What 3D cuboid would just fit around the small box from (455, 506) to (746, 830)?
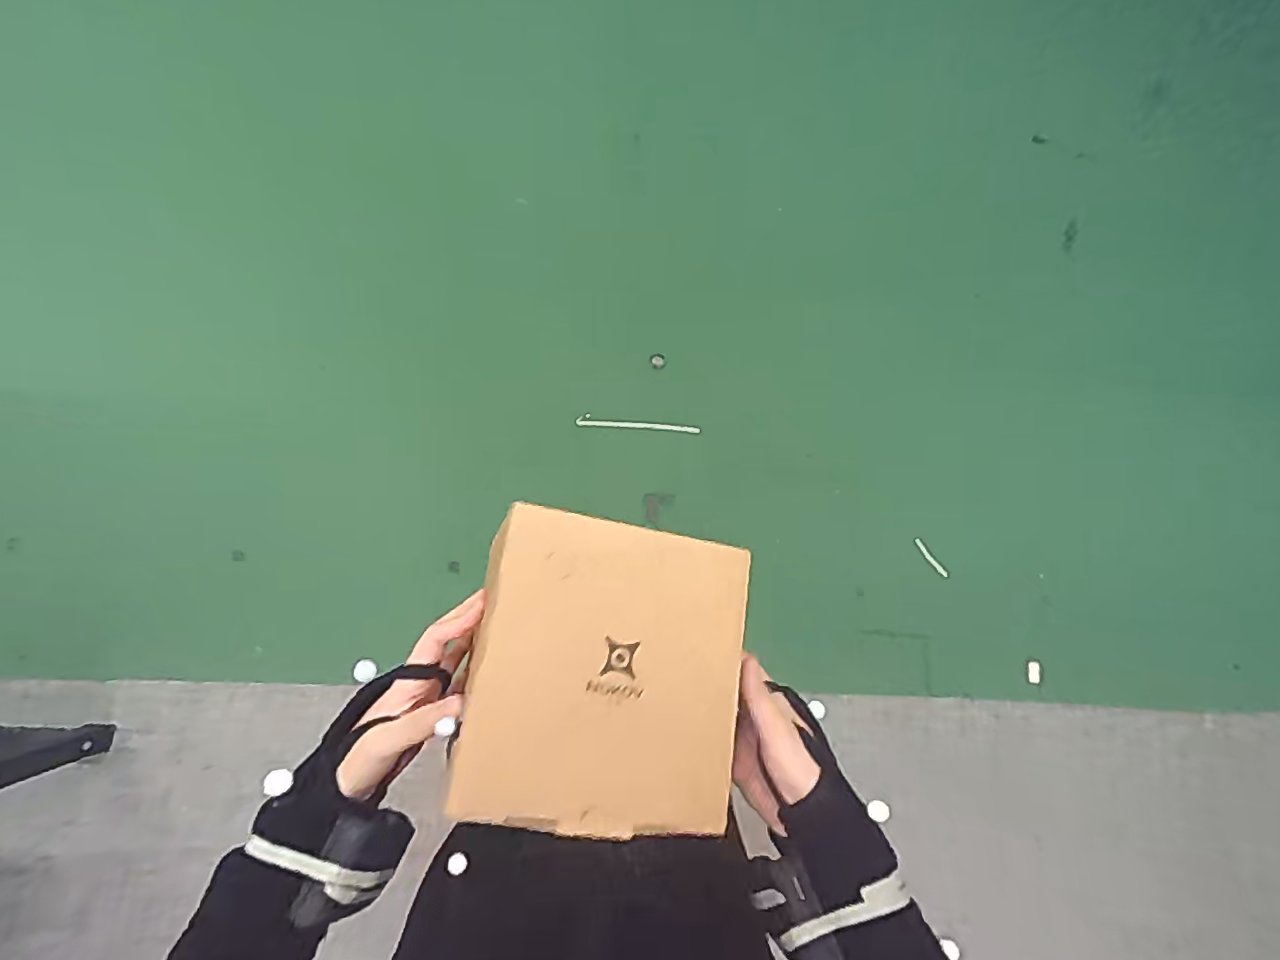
[{"bbox_3d":[-0.039,0.135,0.408,0.168,0.176,0.179,14,72,-16],"label":"small box"}]
